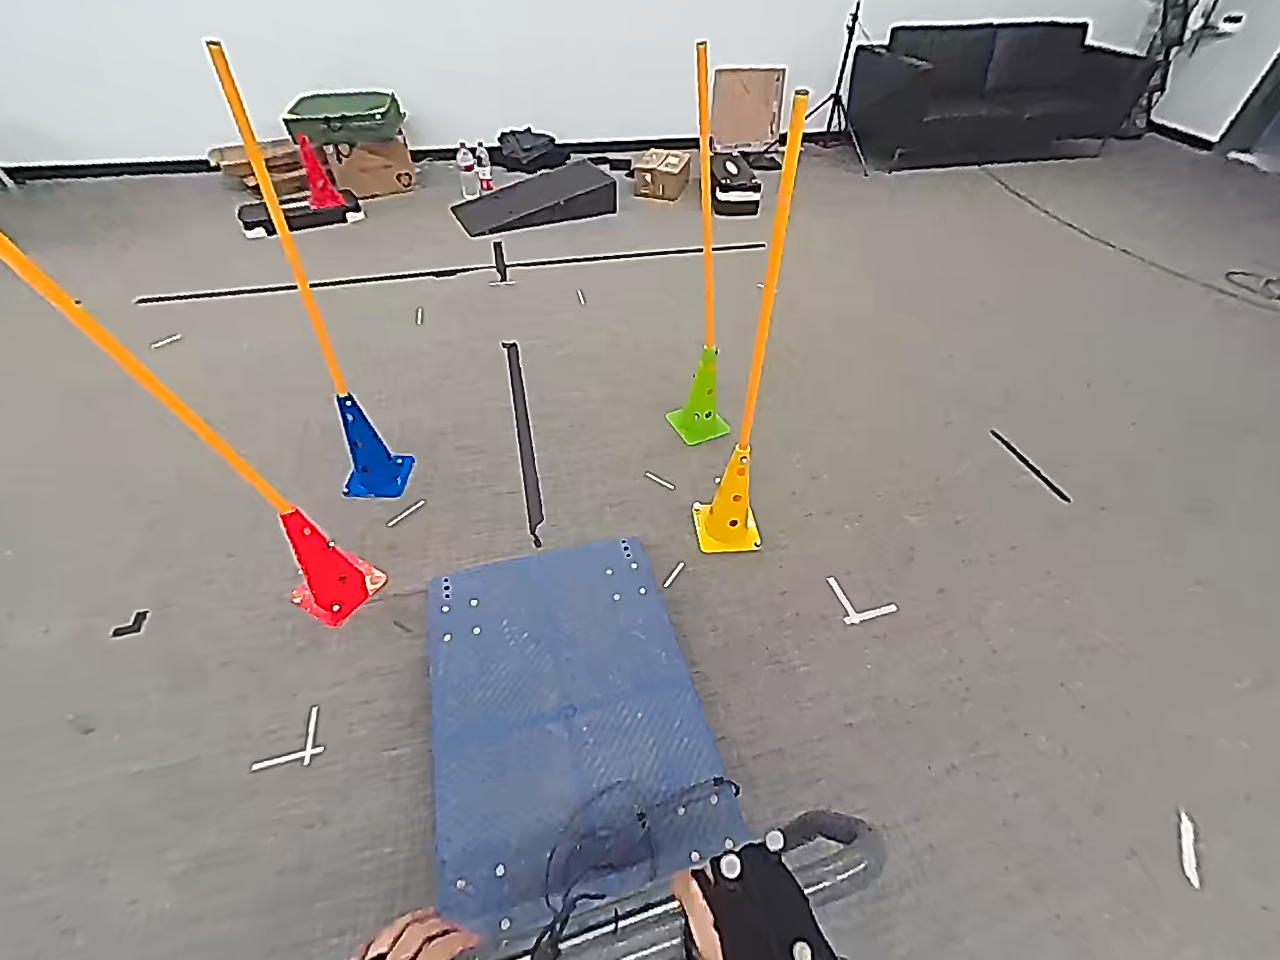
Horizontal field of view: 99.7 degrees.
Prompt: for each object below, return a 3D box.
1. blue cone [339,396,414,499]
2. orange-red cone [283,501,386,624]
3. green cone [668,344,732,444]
[{"bbox_3d":[-0.893,-0.122,1.765,0.193,0.380,0.192,2,47,-1],"label":"blue cone"},{"bbox_3d":[-0.864,0.188,1.449,0.198,0.360,0.199,25,49,19],"label":"orange-red cone"},{"bbox_3d":[0.243,-0.344,2.007,0.200,0.368,0.202,-20,51,-20],"label":"green cone"}]
